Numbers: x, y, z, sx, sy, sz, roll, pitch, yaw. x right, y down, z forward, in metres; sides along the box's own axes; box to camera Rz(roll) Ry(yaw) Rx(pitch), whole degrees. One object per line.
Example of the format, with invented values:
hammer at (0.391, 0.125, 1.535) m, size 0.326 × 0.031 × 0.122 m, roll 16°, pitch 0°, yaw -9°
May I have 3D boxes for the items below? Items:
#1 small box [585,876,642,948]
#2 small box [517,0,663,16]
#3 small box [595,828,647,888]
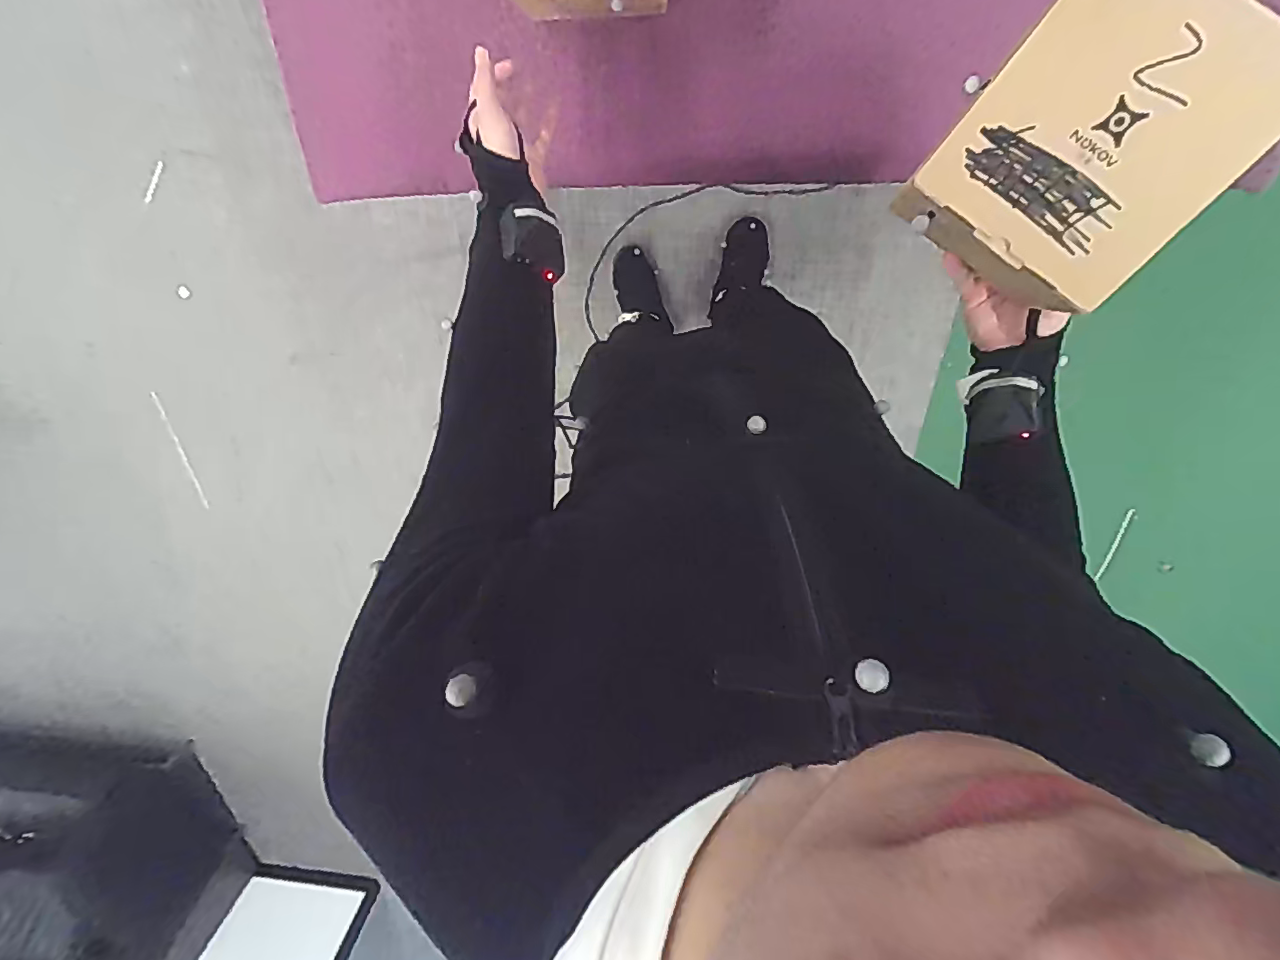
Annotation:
small box at (-0.086, 1.464, 1.797) m, size 0.168 × 0.176 × 0.179 m, roll 5°, pitch 117°, yaw 6°
small box at (-0.061, -0.588, 0.535) m, size 0.168 × 0.176 × 0.179 m, roll 3°, pitch 118°, yaw 6°
small box at (-0.066, 1.394, 1.941) m, size 0.168 × 0.176 × 0.179 m, roll 5°, pitch 117°, yaw 5°
